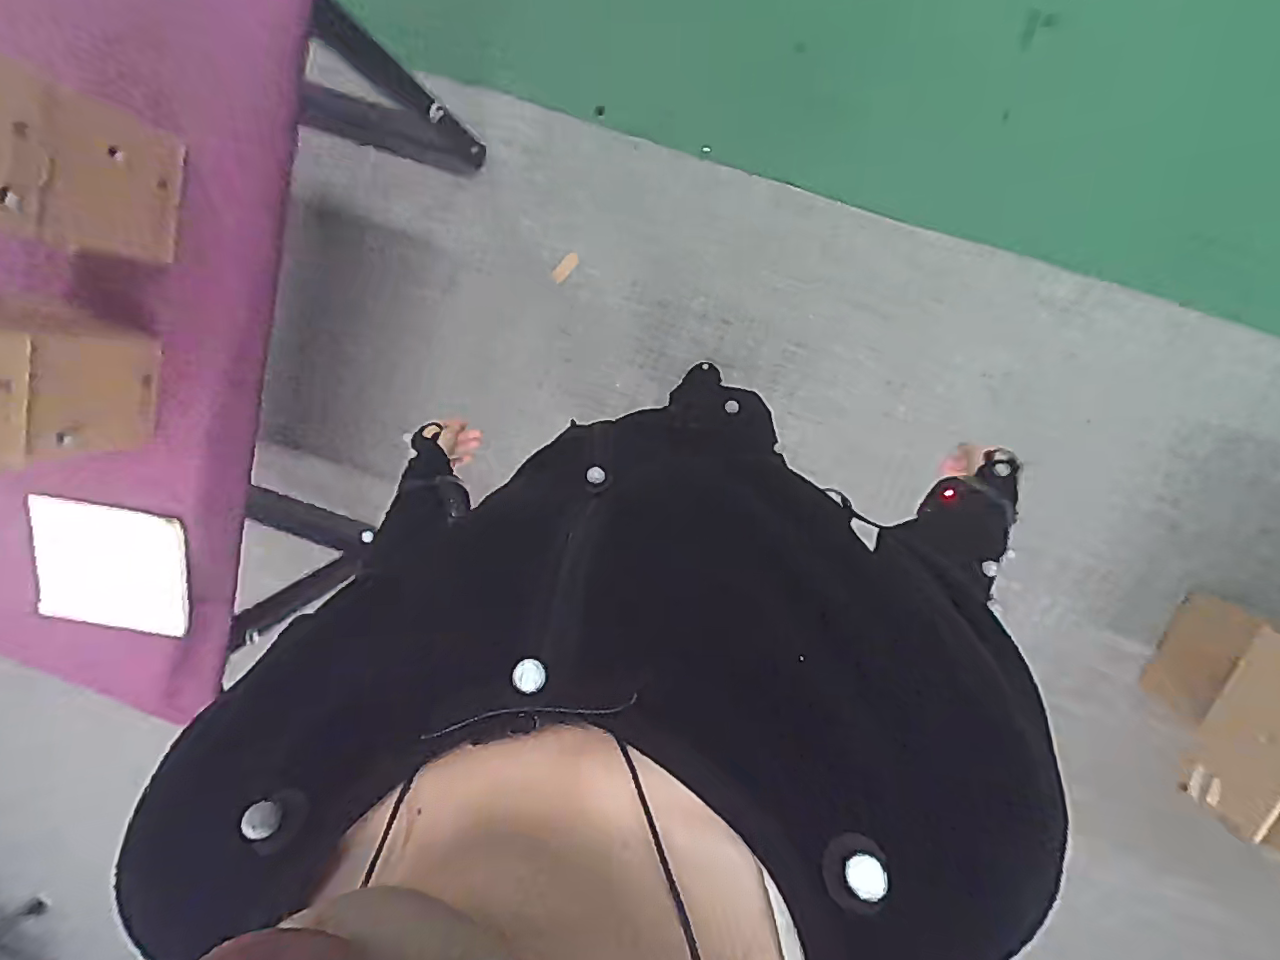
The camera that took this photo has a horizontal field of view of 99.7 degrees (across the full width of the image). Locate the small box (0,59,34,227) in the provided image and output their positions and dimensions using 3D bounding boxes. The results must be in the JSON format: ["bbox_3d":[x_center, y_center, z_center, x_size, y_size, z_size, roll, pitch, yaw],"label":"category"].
[{"bbox_3d":[-0.739,-0.358,0.507,0.179,0.176,0.168,19,103,3],"label":"small box"}]

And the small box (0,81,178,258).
[{"bbox_3d":[-0.727,-0.390,0.668,0.179,0.176,0.168,20,103,2],"label":"small box"}]

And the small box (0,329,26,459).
[{"bbox_3d":[-0.823,-0.103,0.573,0.179,0.176,0.168,20,104,2],"label":"small box"}]
